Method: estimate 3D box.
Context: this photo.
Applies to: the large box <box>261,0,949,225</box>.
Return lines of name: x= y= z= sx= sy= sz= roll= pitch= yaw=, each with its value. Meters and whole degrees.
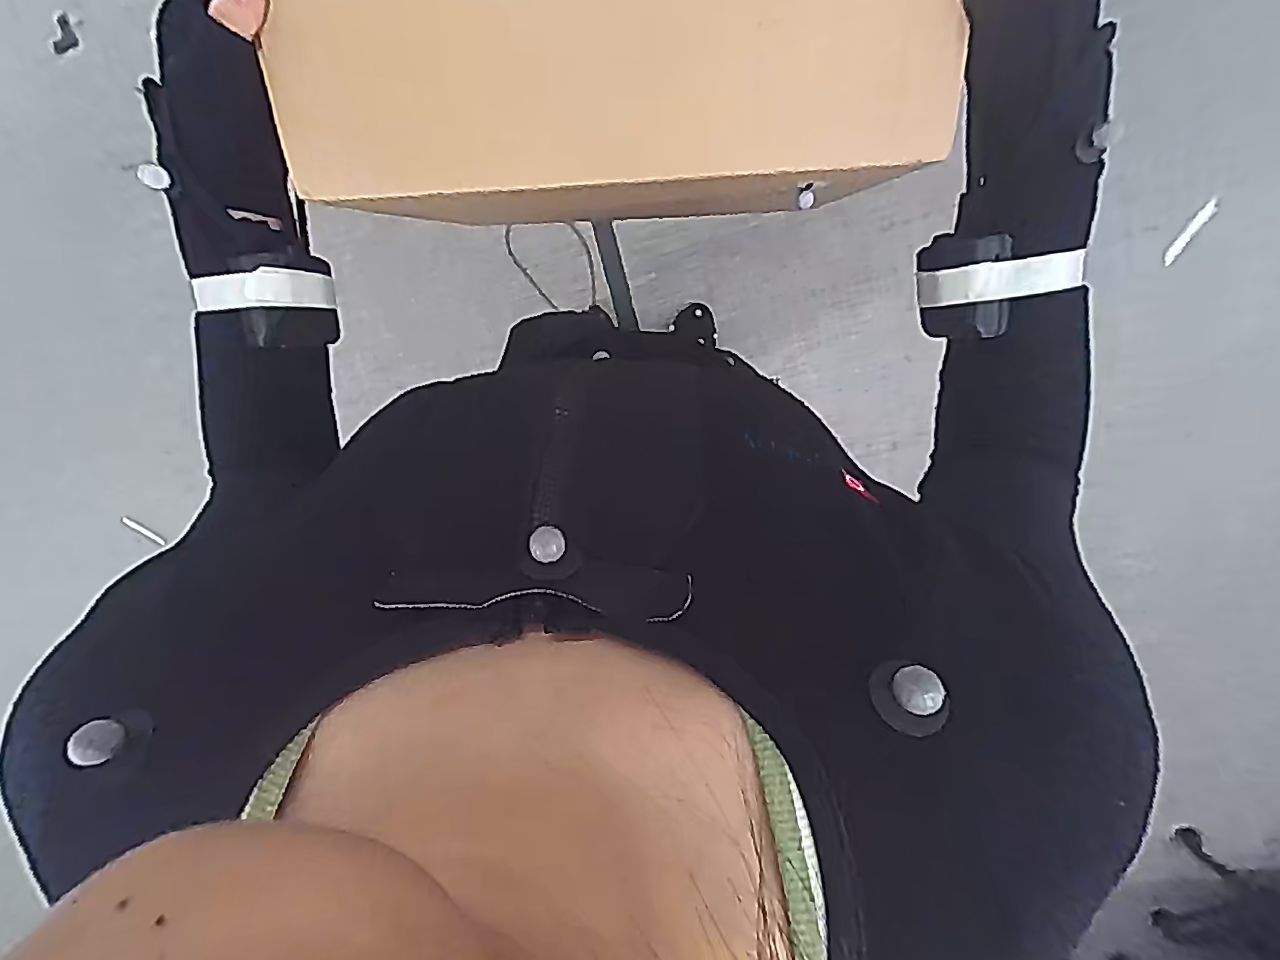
large box: x=-0.019 y=-0.390 z=0.427 sx=0.408 sy=0.320 sz=0.320 roll=-2 pitch=112 yaw=5
